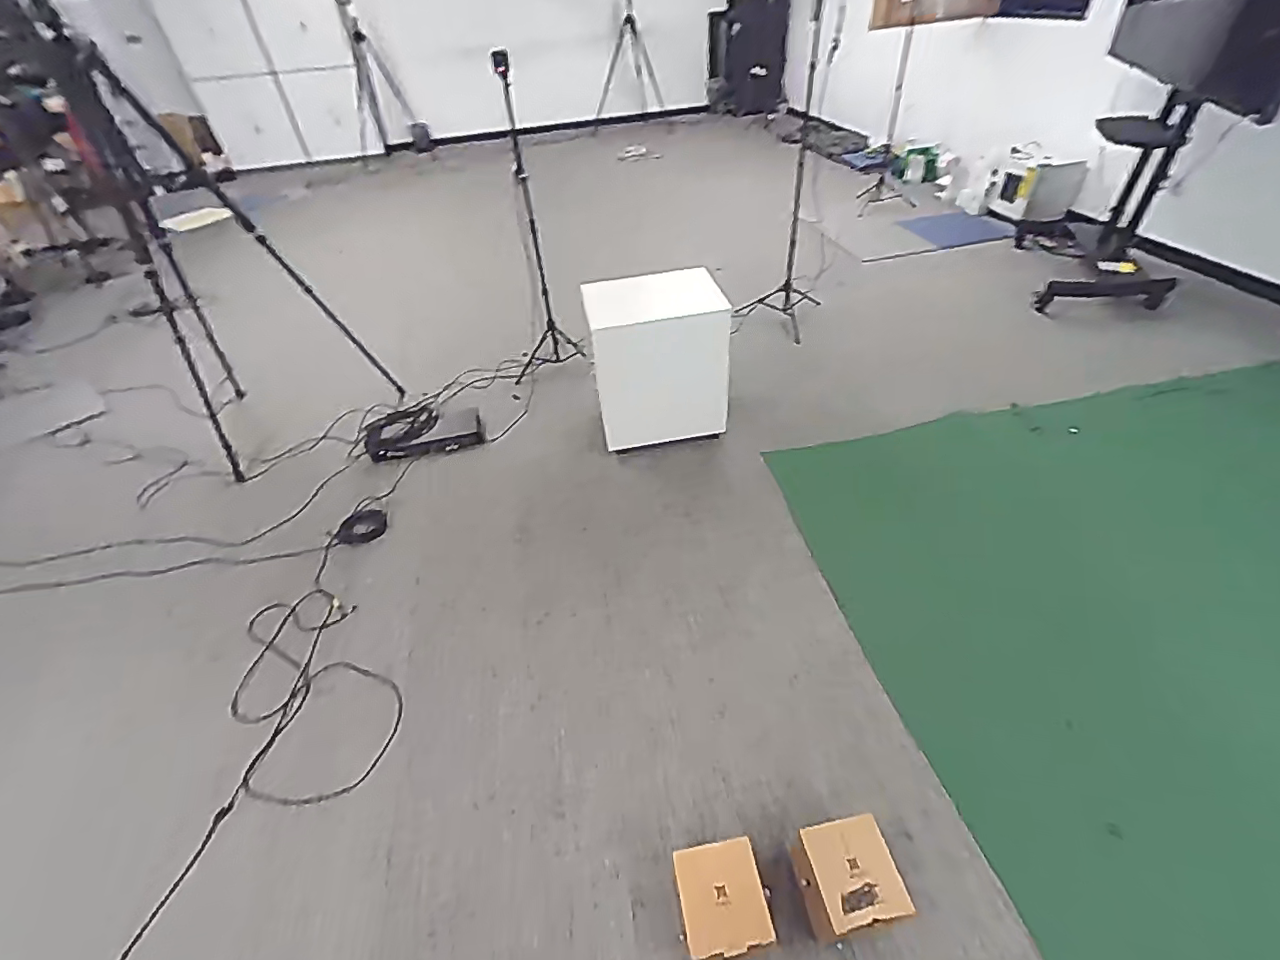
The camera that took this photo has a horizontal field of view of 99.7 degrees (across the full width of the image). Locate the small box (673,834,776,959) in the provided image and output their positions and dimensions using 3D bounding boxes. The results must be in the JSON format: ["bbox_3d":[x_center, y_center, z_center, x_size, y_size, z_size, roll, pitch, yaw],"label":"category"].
[{"bbox_3d":[0.164,0.868,1.115,0.168,0.176,0.179,-9,44,-5],"label":"small box"}]

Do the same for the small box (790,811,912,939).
[{"bbox_3d":[0.430,0.831,1.132,0.168,0.176,0.179,-10,43,-5],"label":"small box"}]
